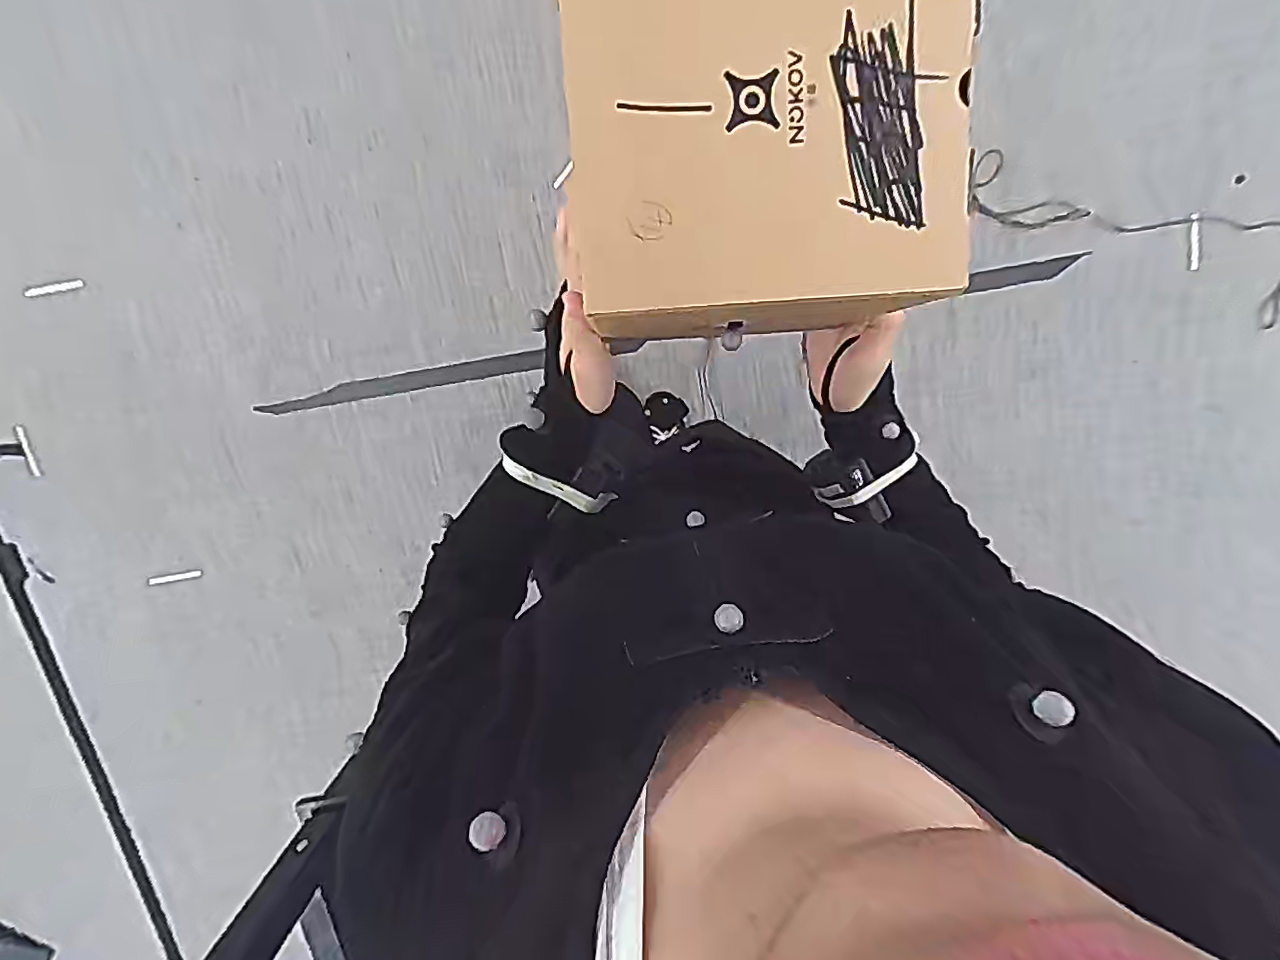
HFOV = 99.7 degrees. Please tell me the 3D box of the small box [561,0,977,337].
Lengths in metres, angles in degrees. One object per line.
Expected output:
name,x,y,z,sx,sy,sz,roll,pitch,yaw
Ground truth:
small box,0.055,-0.176,0.309,0.179,0.176,0.168,-4,100,1
